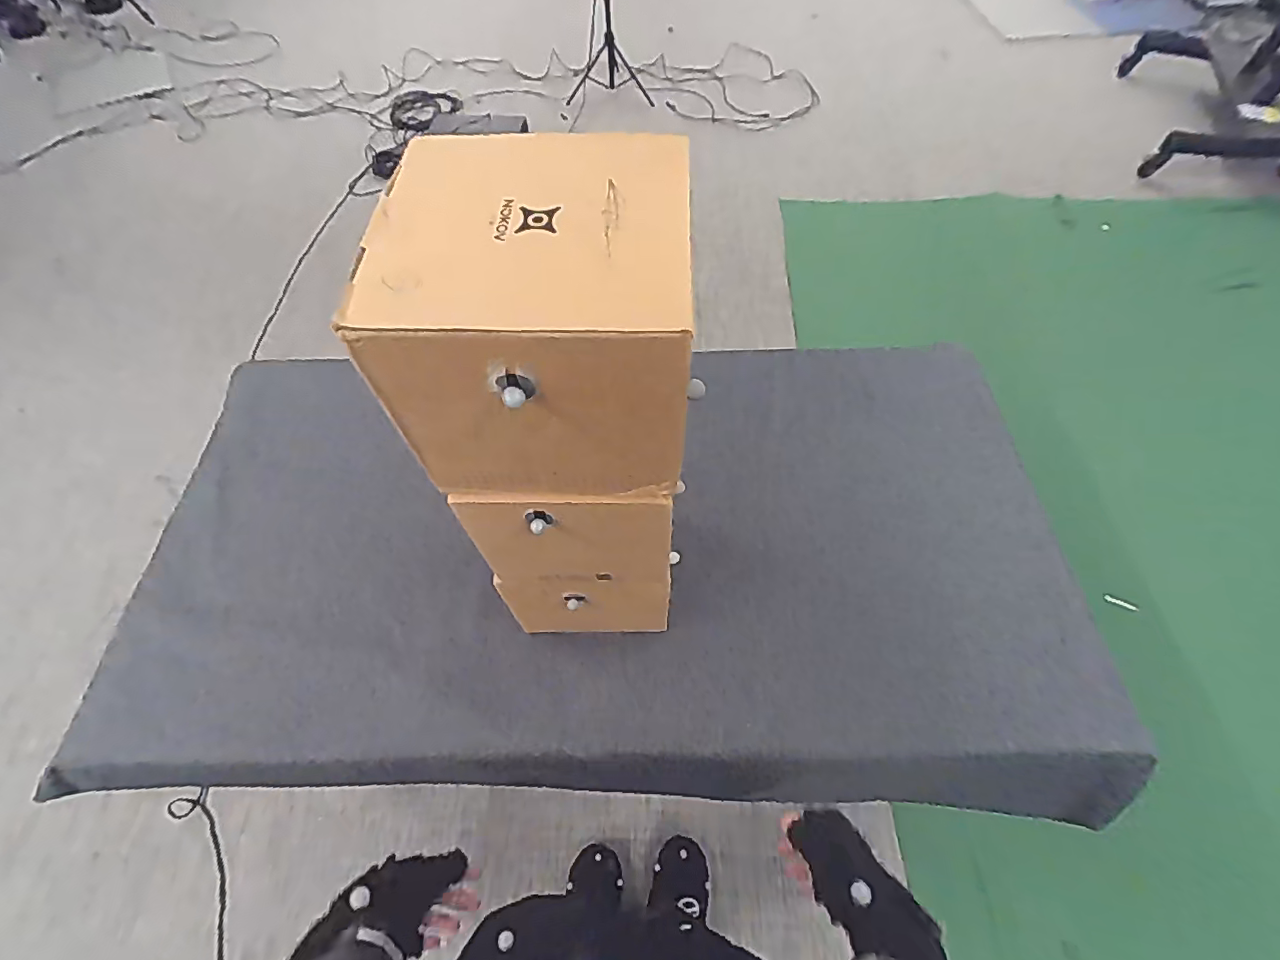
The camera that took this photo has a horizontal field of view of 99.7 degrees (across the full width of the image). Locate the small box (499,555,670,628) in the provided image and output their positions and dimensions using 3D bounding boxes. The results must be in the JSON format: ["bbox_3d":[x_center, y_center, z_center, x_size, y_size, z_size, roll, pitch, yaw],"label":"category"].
[{"bbox_3d":[-0.053,0.075,0.650,0.179,0.176,0.168,-1,58,1],"label":"small box"}]

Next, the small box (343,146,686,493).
[{"bbox_3d":[-0.059,-0.100,0.375,0.179,0.176,0.168,1,60,1],"label":"small box"}]

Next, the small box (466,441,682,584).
[{"bbox_3d":[-0.052,-0.013,0.515,0.168,0.176,0.179,-2,59,0],"label":"small box"}]
